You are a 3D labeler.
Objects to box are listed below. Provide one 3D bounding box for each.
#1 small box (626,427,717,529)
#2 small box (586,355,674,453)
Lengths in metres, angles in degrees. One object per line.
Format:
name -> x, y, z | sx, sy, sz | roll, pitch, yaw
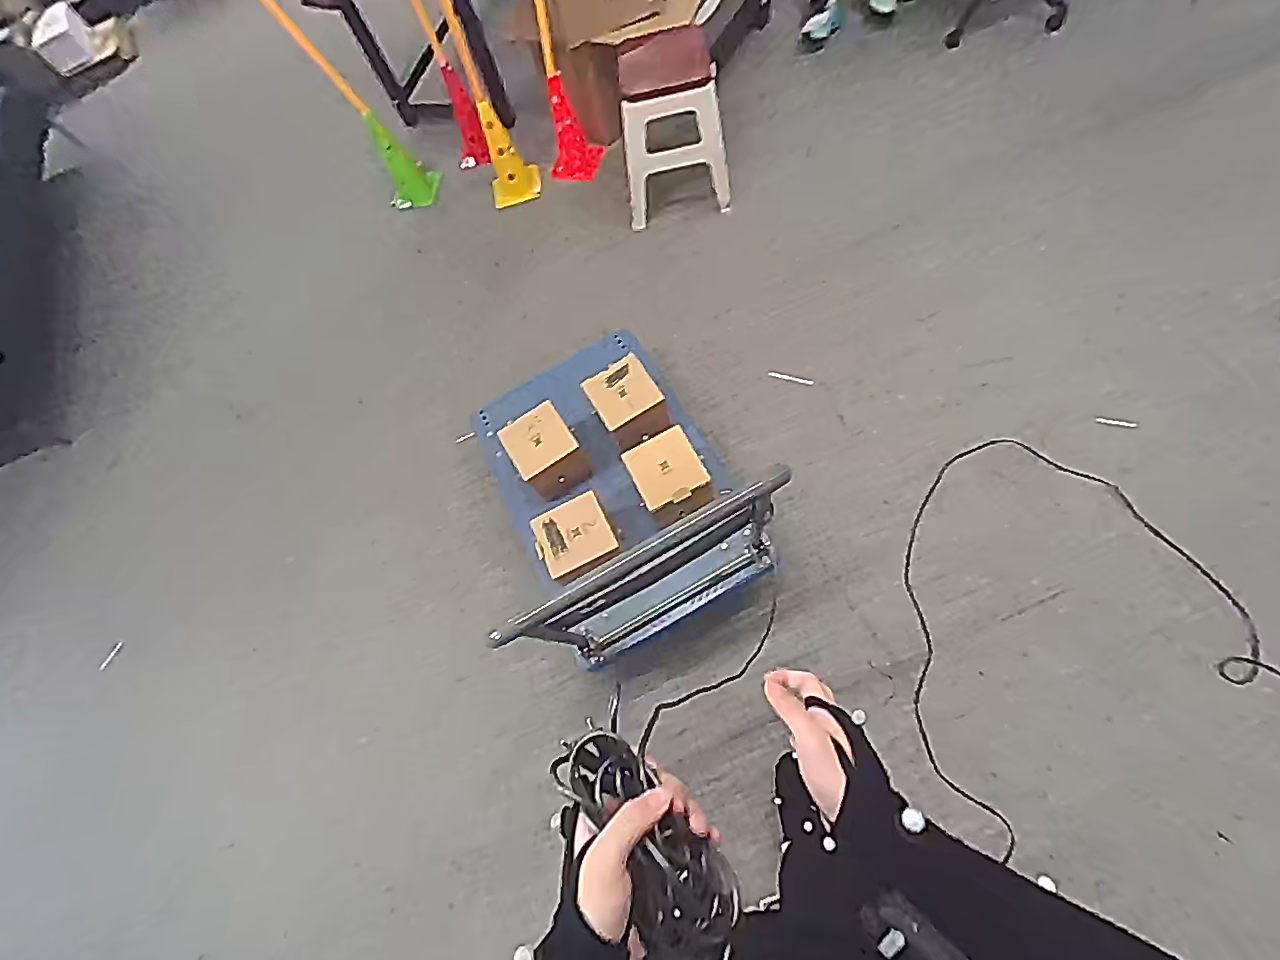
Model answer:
small box -> 0.083, 0.001, 1.381 | 0.168, 0.176, 0.179 | -28, 67, 0
small box -> -0.022, -0.201, 1.481 | 0.168, 0.176, 0.179 | -31, 67, -1
